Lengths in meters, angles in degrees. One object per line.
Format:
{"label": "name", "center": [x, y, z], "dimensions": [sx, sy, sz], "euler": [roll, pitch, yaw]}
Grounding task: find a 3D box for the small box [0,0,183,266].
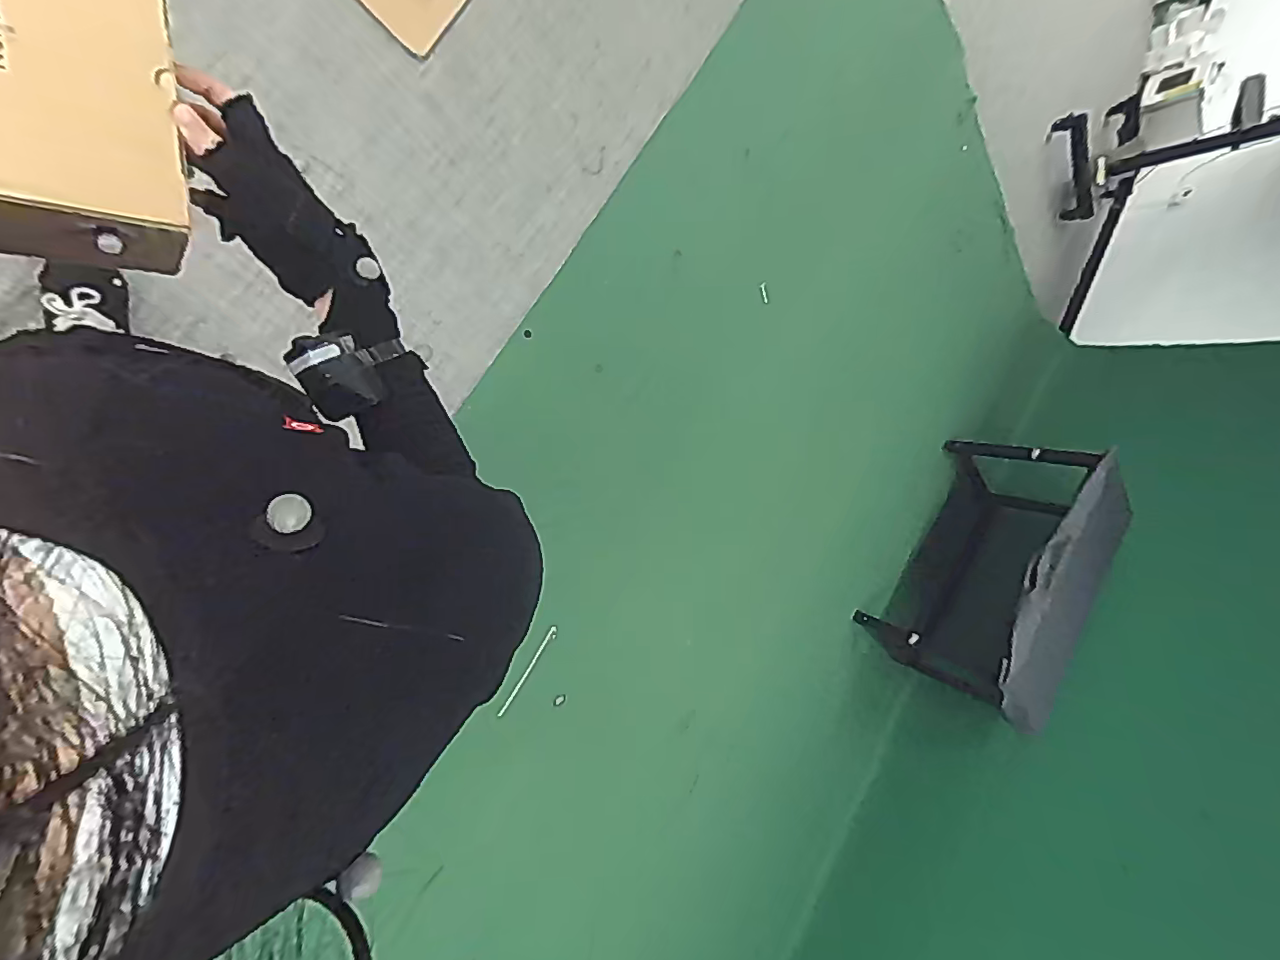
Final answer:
{"label": "small box", "center": [-0.399, -0.238, 0.323], "dimensions": [0.179, 0.176, 0.168], "euler": [-7, 101, -43]}
